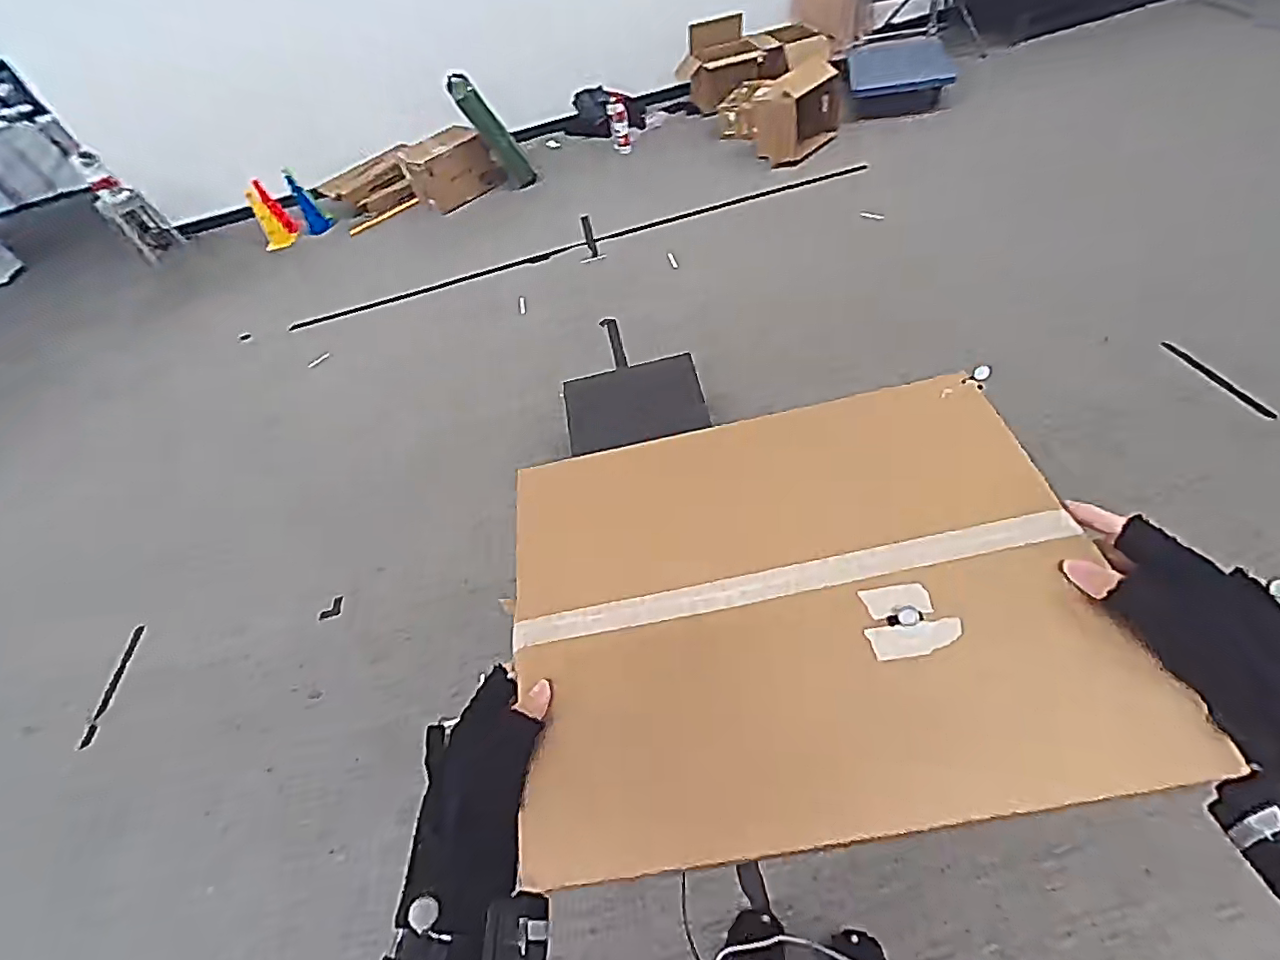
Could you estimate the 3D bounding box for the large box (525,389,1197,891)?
[{"bbox_3d":[0.133,0.168,0.526,0.408,0.320,0.320,-13,55,3],"label":"large box"}]
